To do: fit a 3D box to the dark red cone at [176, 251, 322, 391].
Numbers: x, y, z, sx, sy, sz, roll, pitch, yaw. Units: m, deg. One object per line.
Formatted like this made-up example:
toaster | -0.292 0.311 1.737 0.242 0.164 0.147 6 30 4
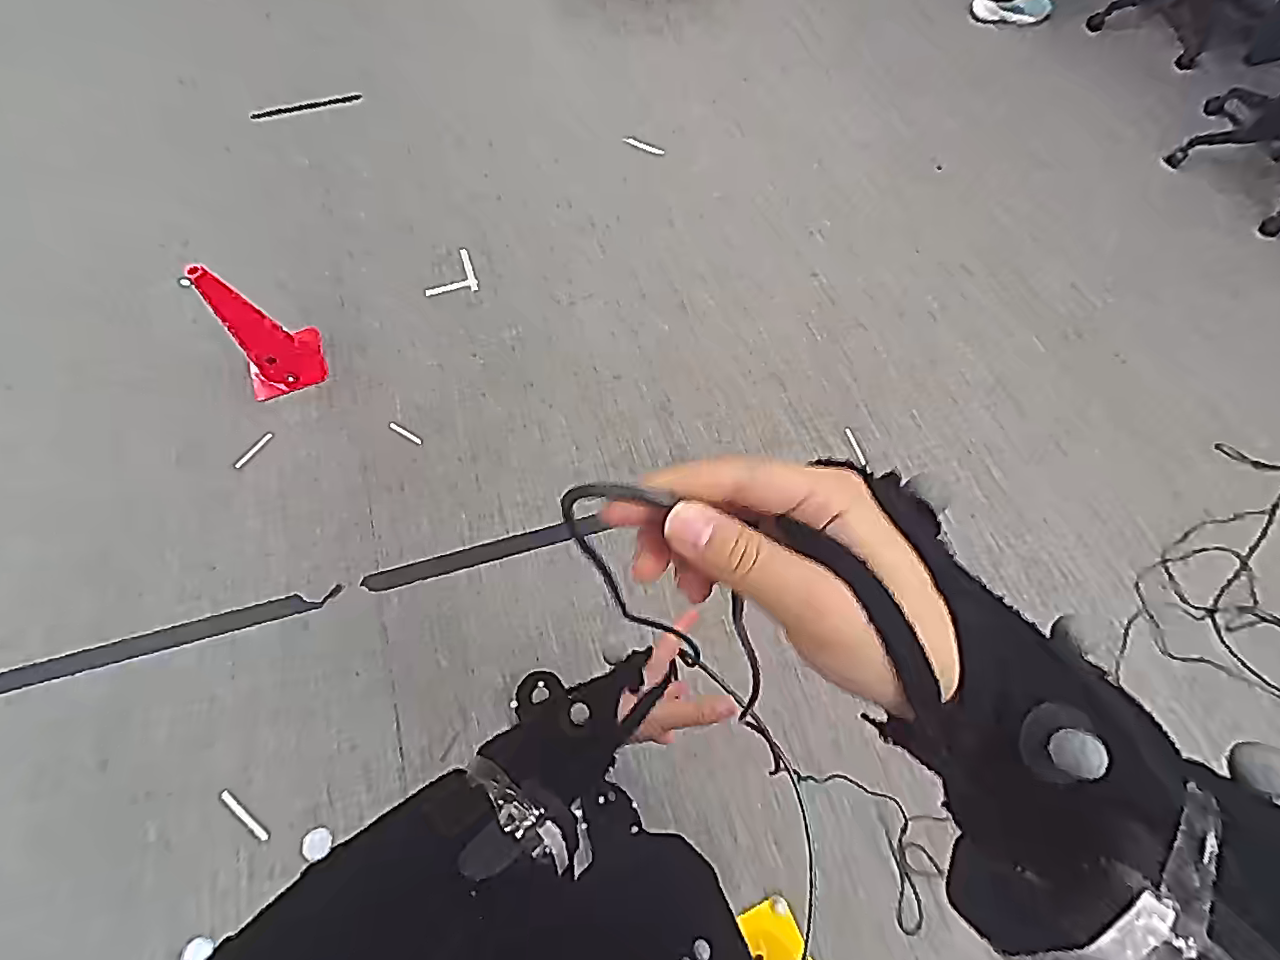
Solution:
dark red cone | -0.997 -0.411 1.355 0.202 0.394 0.201 -22 70 -10
